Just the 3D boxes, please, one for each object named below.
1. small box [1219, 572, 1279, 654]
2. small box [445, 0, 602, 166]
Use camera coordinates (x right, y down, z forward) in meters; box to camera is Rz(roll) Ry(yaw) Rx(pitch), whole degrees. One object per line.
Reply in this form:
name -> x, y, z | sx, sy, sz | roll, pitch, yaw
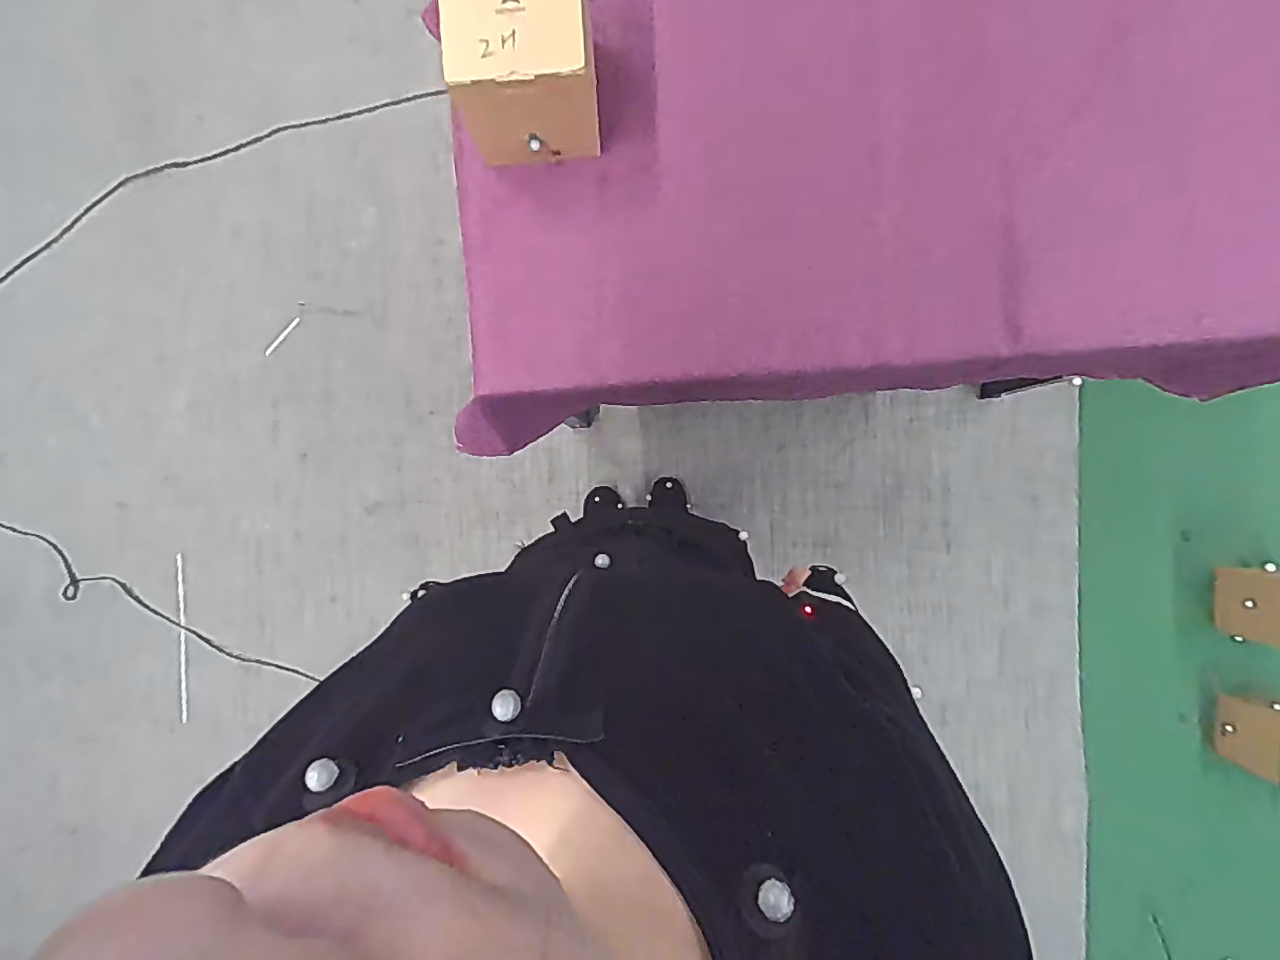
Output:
small box -> 1.621, 0.335, 1.359 | 0.168, 0.176, 0.179 | 1, 89, 2
small box -> -0.141, -0.547, 0.704 | 0.168, 0.176, 0.179 | -3, 90, 2
